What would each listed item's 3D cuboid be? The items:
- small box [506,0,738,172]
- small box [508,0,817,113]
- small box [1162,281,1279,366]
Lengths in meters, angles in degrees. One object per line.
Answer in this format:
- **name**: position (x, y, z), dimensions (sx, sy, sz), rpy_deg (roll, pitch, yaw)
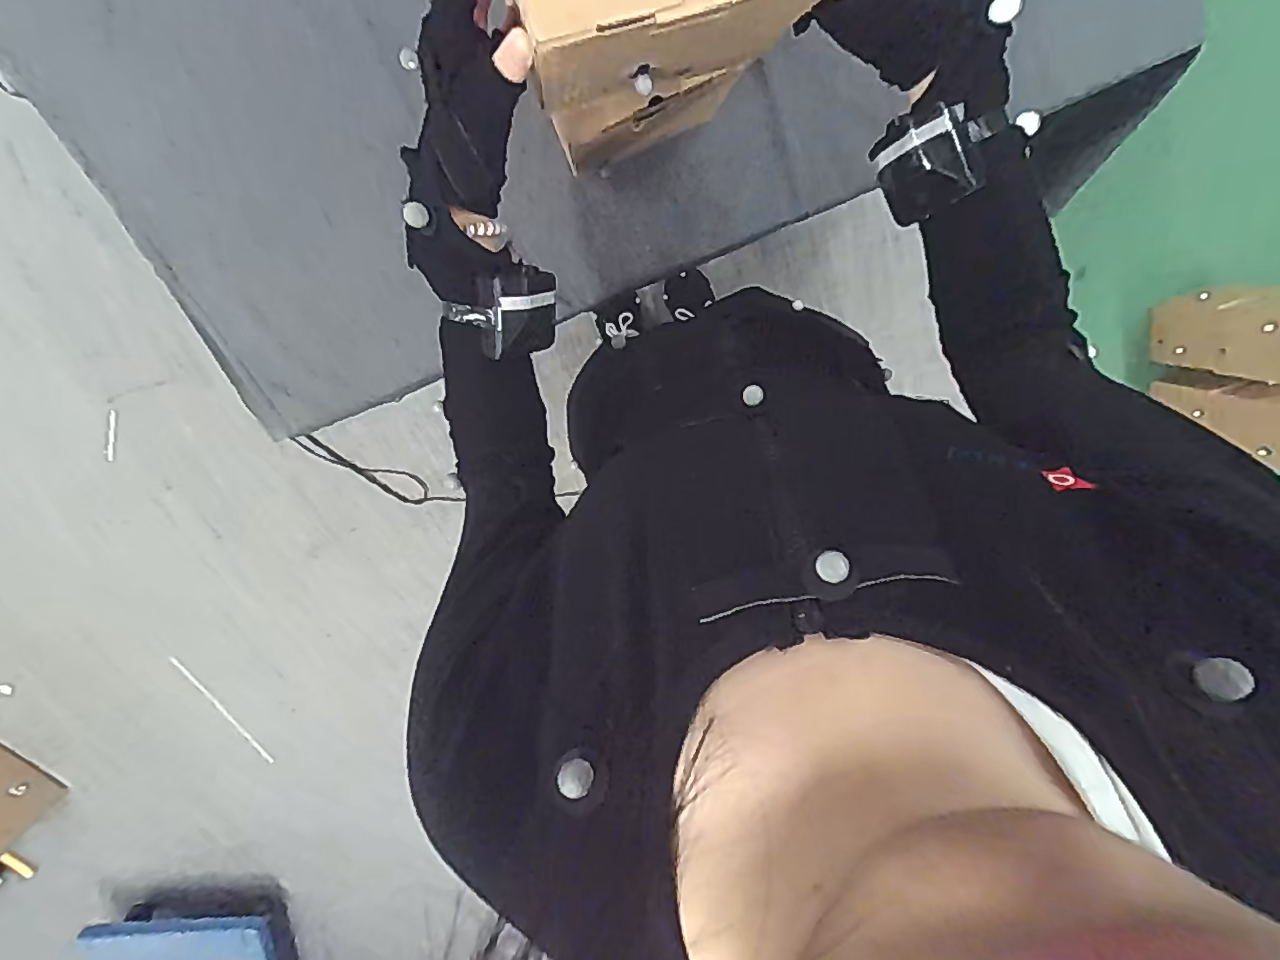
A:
- **small box**: position (-0.024, -0.420, 0.516), dimensions (0.168, 0.176, 0.179), rpy_deg (-23, 109, 4)
- **small box**: position (-0.005, -0.338, 0.302), dimensions (0.168, 0.176, 0.179), rpy_deg (-16, 117, -1)
- **small box**: position (1.517, -0.408, 1.404), dimensions (0.179, 0.176, 0.168), rpy_deg (-18, 111, 3)
